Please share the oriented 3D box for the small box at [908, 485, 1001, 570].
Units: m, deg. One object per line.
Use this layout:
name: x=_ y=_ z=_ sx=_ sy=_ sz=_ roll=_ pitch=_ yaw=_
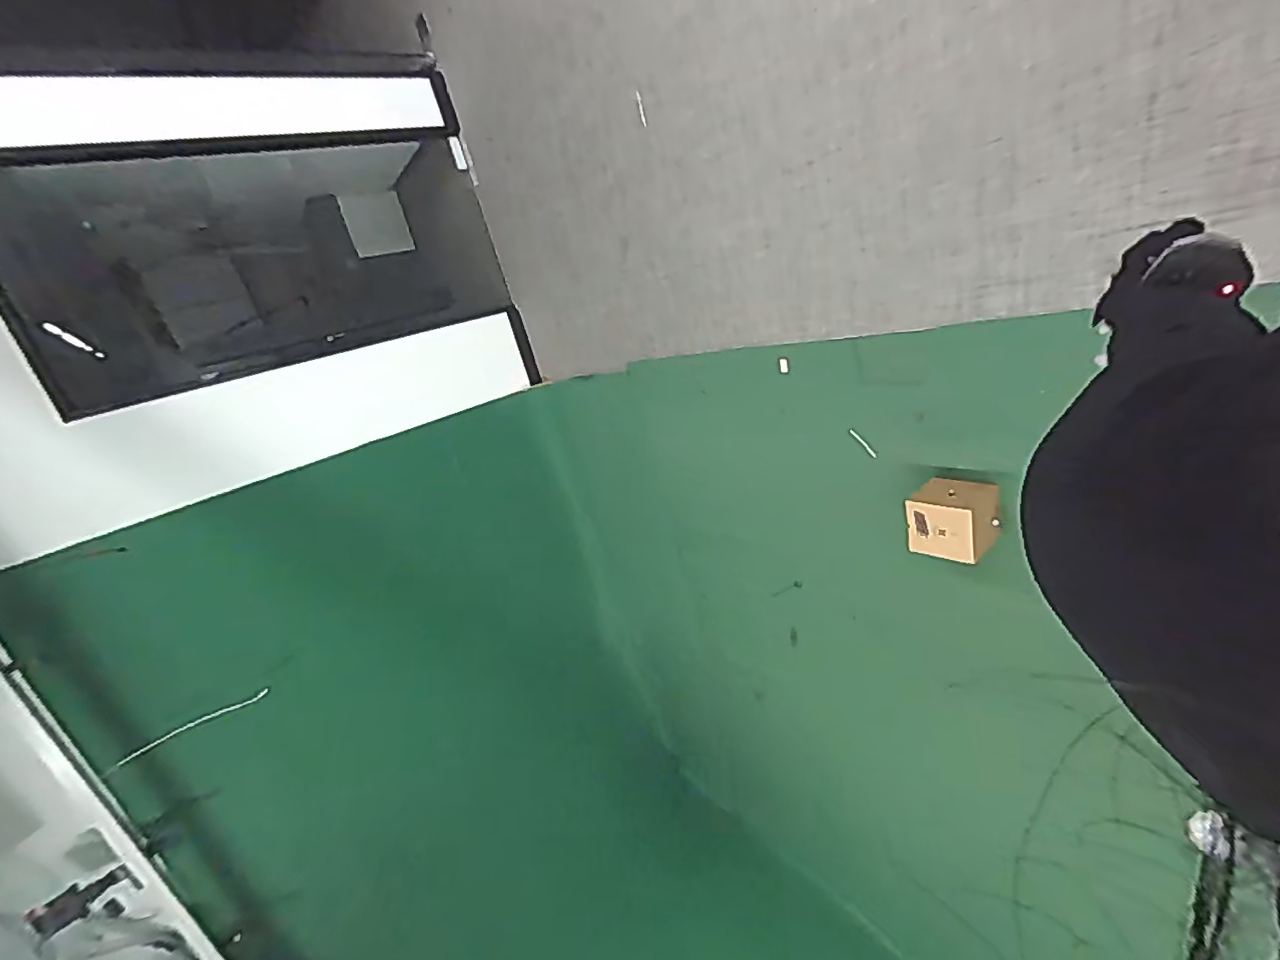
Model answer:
small box: x=0.883 y=0.124 z=1.517 sx=0.179 sy=0.176 sz=0.168 roll=11 pitch=122 yaw=52
